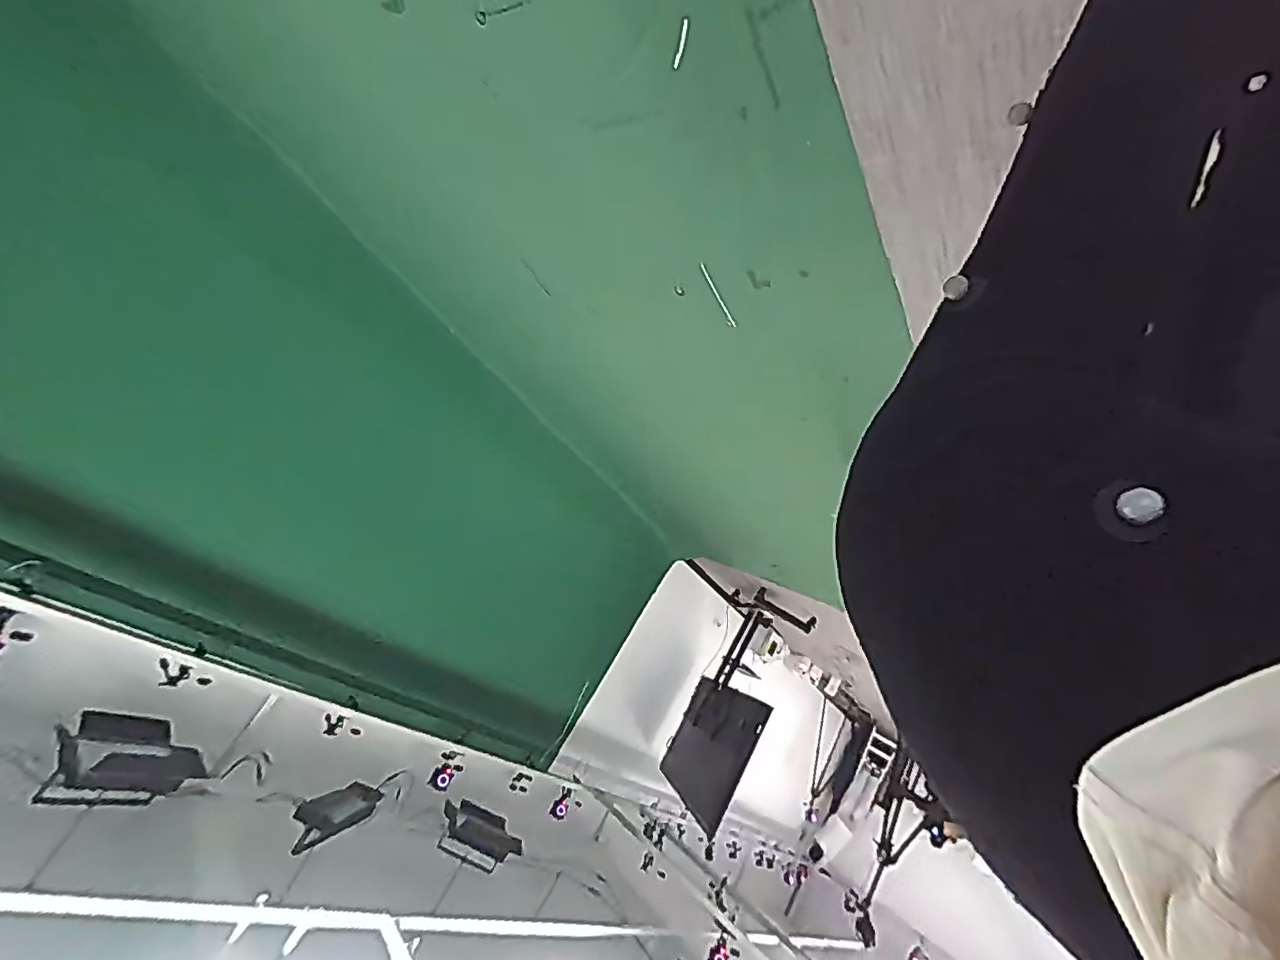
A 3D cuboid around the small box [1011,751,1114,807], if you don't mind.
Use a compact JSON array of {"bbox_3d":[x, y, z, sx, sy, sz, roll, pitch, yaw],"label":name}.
[{"bbox_3d":[1.321,0.870,1.691,0.179,0.176,0.168,34,163,-5],"label":"small box"}]
